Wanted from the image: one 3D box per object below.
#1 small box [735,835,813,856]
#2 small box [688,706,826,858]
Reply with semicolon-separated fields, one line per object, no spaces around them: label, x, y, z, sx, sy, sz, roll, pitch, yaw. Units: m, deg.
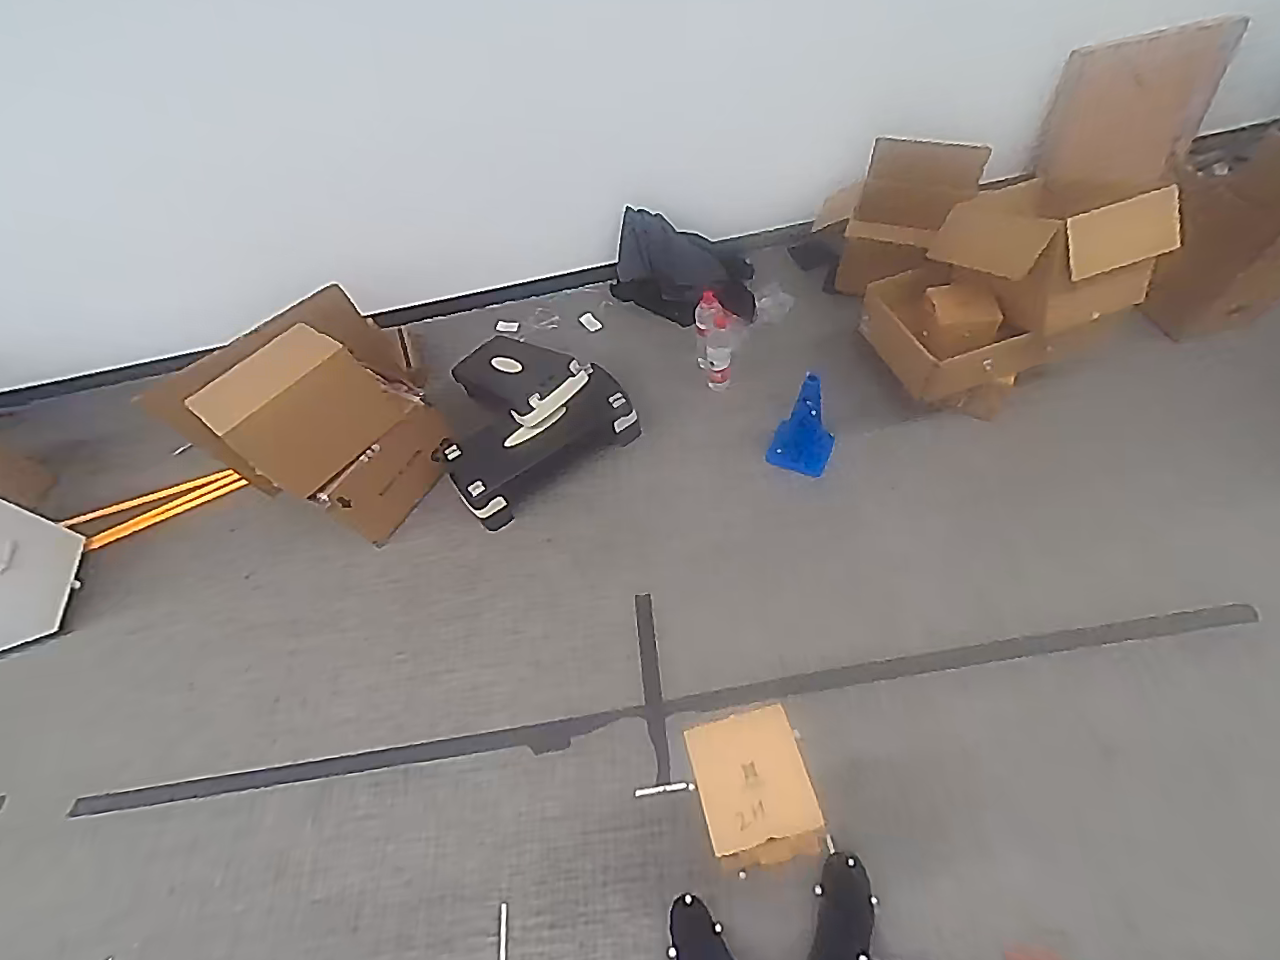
small box;0.256;0.685;1.144;0.168;0.176;0.179;-7;58;5
small box;0.182;0.495;0.884;0.168;0.176;0.179;-16;56;0
